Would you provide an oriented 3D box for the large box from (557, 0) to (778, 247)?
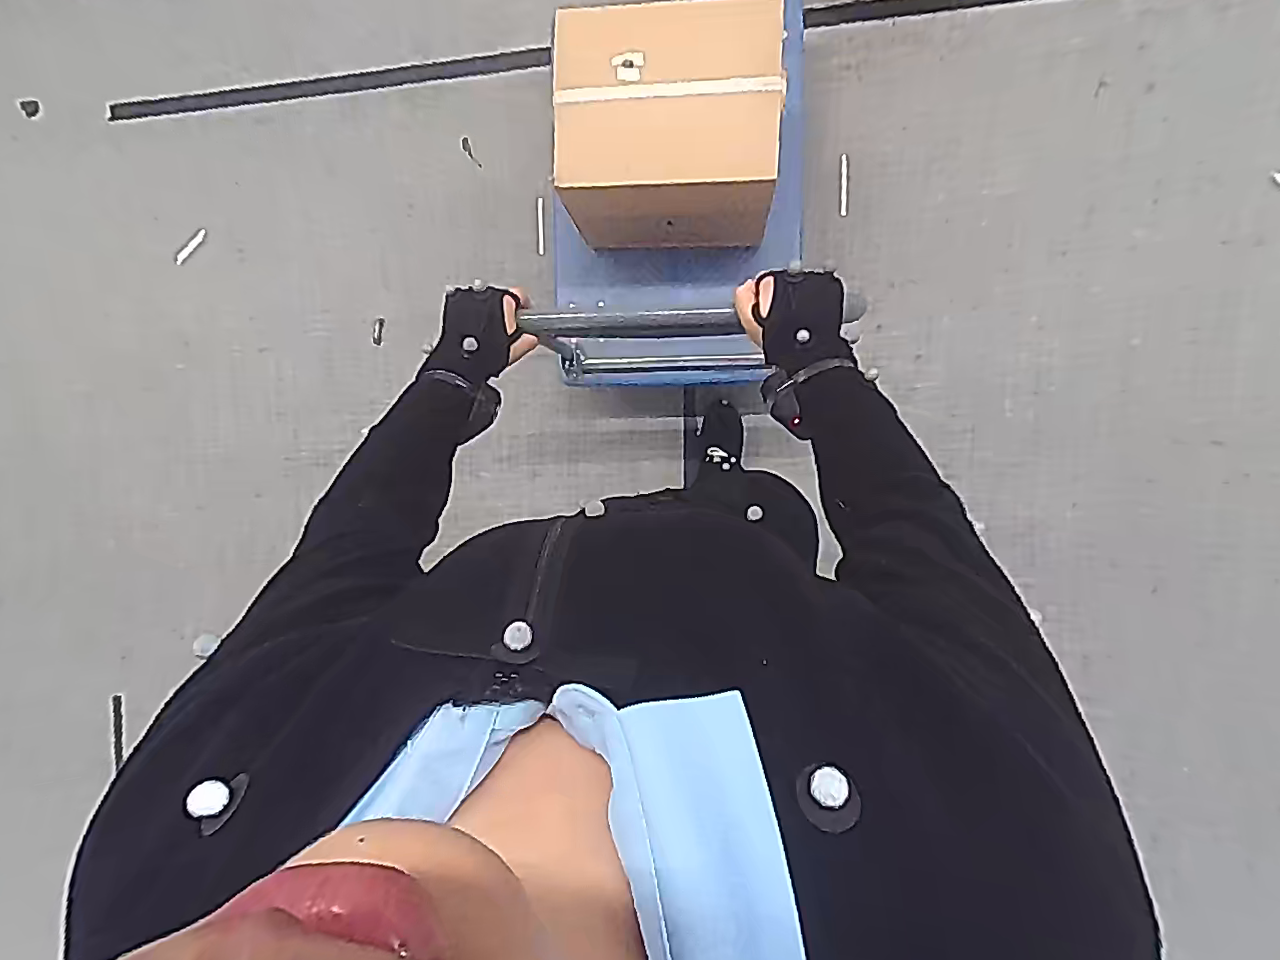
[{"bbox_3d":[0.064,-0.697,1.119,0.408,0.320,0.320,2,92,8],"label":"large box"}]
